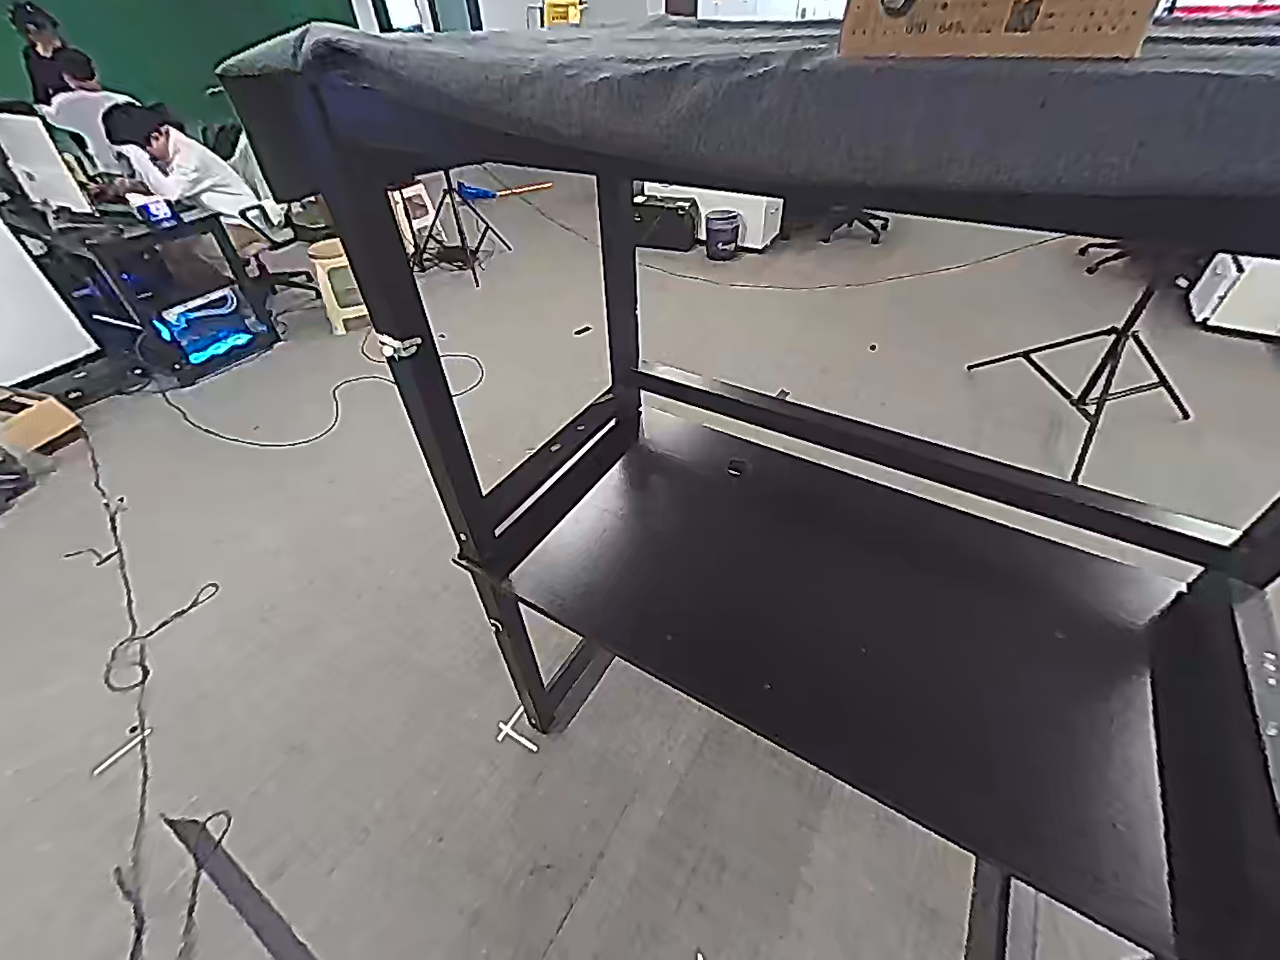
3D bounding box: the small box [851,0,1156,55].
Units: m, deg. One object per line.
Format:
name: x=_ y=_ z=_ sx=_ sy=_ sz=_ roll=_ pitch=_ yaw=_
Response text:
small box: x=0.244 y=-0.370 z=0.331 sx=0.168 sy=0.176 sz=0.179 roll=21 pitch=45 yaw=24
